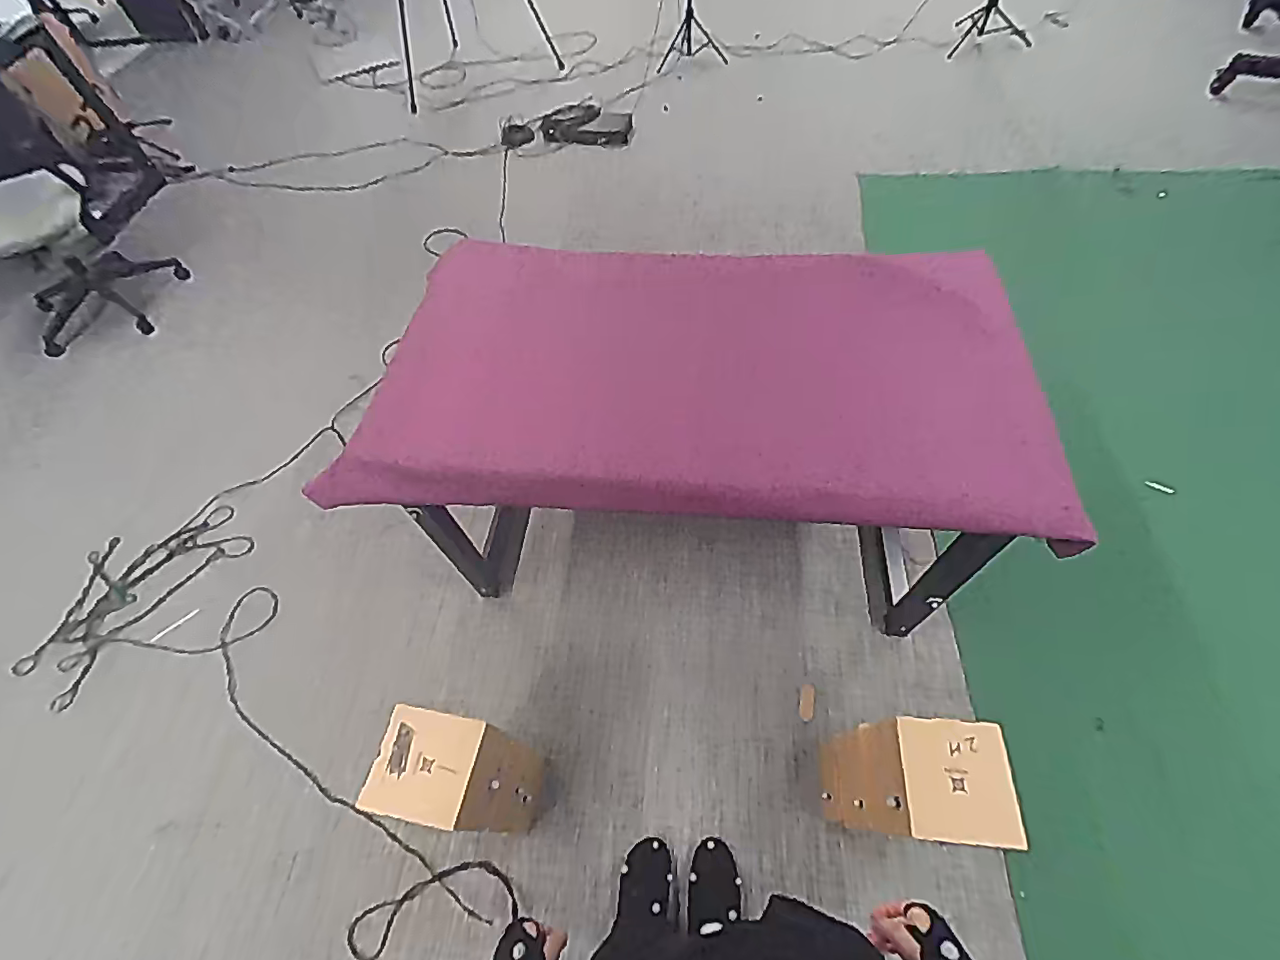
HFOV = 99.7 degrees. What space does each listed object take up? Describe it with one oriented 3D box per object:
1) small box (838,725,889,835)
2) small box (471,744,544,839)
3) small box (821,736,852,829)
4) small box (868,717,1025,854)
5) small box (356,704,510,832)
[{"bbox_3d":[0.497,0.592,1.057,0.168,0.176,0.179,2,59,6],"label":"small box"},{"bbox_3d":[-0.332,0.705,1.242,0.168,0.176,0.179,6,58,9],"label":"small box"},{"bbox_3d":[0.502,0.677,1.194,0.179,0.176,0.168,4,58,7],"label":"small box"},{"bbox_3d":[0.499,0.512,0.912,0.168,0.176,0.179,3,58,6],"label":"small box"},{"bbox_3d":[-0.357,0.520,0.970,0.179,0.176,0.168,8,58,9],"label":"small box"}]
